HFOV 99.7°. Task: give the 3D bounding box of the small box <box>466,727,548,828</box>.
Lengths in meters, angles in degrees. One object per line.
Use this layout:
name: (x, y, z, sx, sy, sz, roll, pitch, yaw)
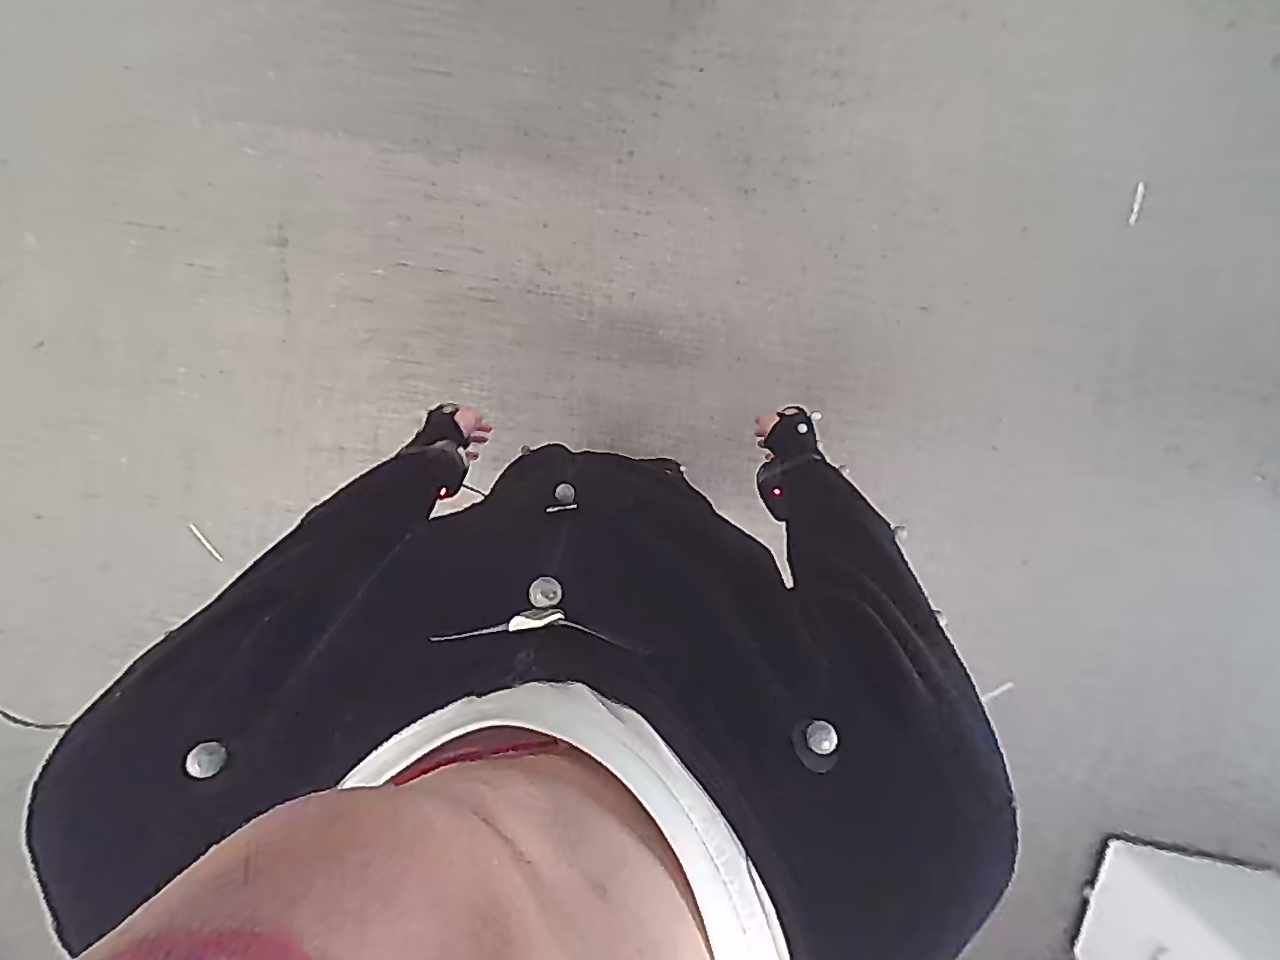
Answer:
small box: (-0.386, 0.879, 1.615, 0.179, 0.176, 0.168, -25, 99, 1)
